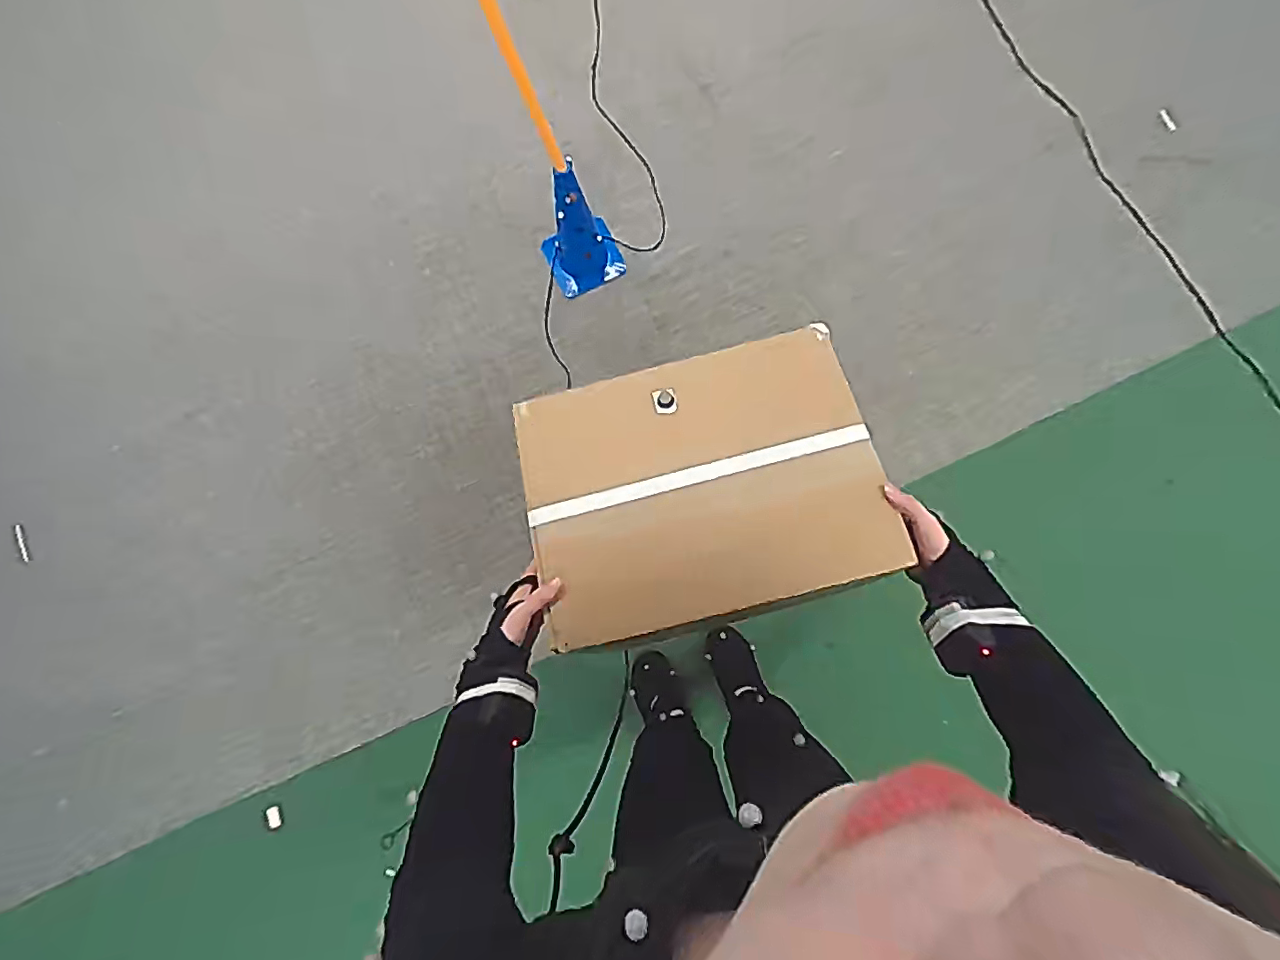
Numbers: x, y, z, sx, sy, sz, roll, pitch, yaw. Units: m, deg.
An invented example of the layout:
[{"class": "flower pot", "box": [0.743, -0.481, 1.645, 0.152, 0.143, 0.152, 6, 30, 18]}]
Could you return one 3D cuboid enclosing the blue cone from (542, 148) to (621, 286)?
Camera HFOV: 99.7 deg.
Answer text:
[{"class": "blue cone", "box": [-0.173, -0.679, 1.371, 0.193, 0.380, 0.192, -28, 81, -1]}]
